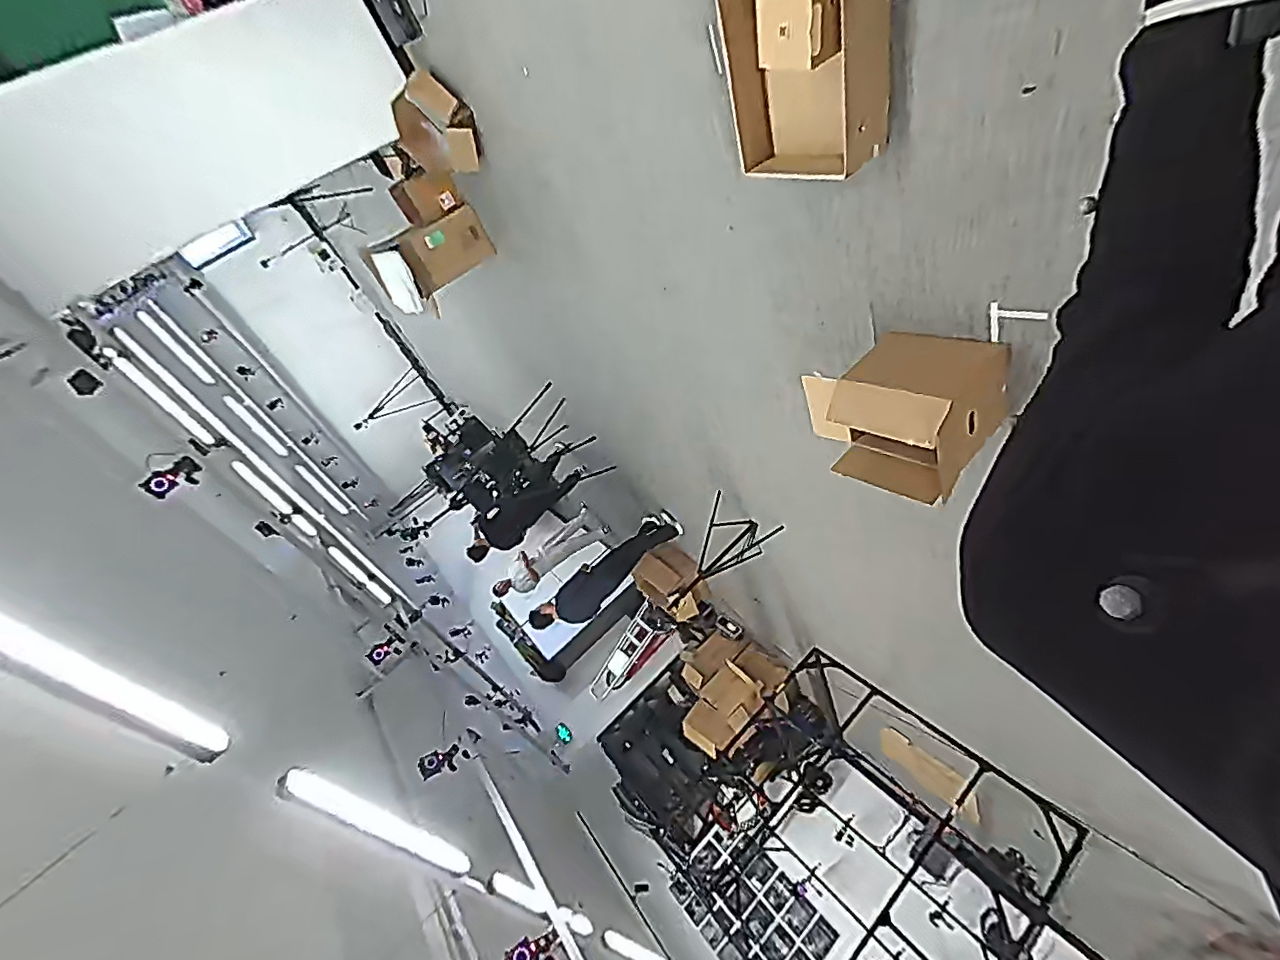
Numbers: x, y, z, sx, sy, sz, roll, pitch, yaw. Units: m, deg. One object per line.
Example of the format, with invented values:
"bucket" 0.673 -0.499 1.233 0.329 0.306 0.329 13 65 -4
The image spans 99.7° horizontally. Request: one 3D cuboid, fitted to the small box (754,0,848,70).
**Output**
"small box" 0.417 -1.186 1.386 0.179 0.176 0.168 37 159 34
